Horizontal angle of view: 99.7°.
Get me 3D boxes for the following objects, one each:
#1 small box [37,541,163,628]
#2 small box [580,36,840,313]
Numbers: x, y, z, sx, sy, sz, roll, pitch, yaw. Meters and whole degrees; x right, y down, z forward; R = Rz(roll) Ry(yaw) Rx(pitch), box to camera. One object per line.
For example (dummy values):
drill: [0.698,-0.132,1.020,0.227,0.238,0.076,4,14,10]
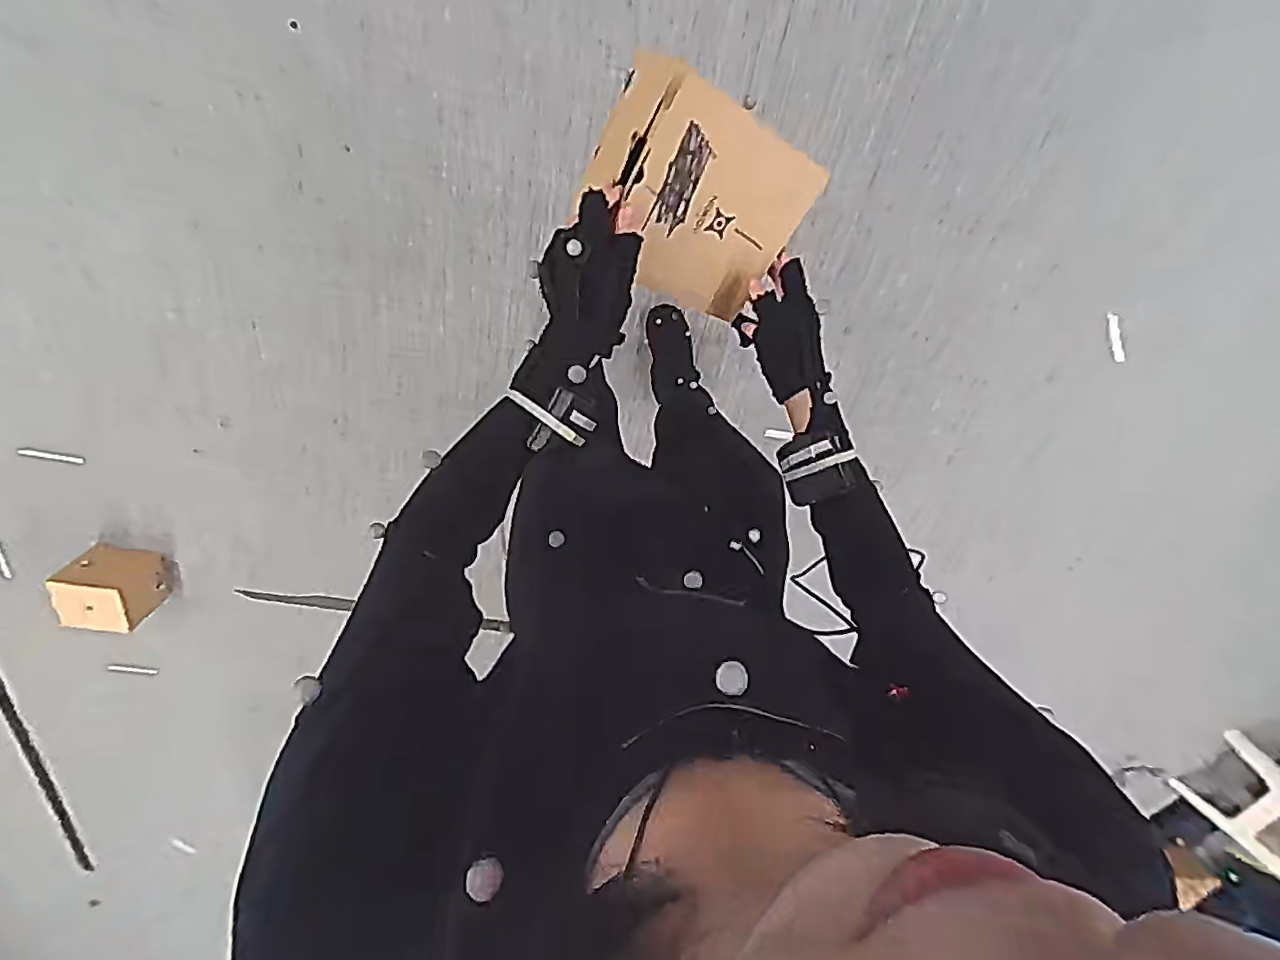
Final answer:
small box: [-1.520,0.292,1.535,0.179,0.176,0.168,10,119,-10]
small box: [0.054,-0.306,0.545,0.179,0.176,0.168,17,127,-28]
